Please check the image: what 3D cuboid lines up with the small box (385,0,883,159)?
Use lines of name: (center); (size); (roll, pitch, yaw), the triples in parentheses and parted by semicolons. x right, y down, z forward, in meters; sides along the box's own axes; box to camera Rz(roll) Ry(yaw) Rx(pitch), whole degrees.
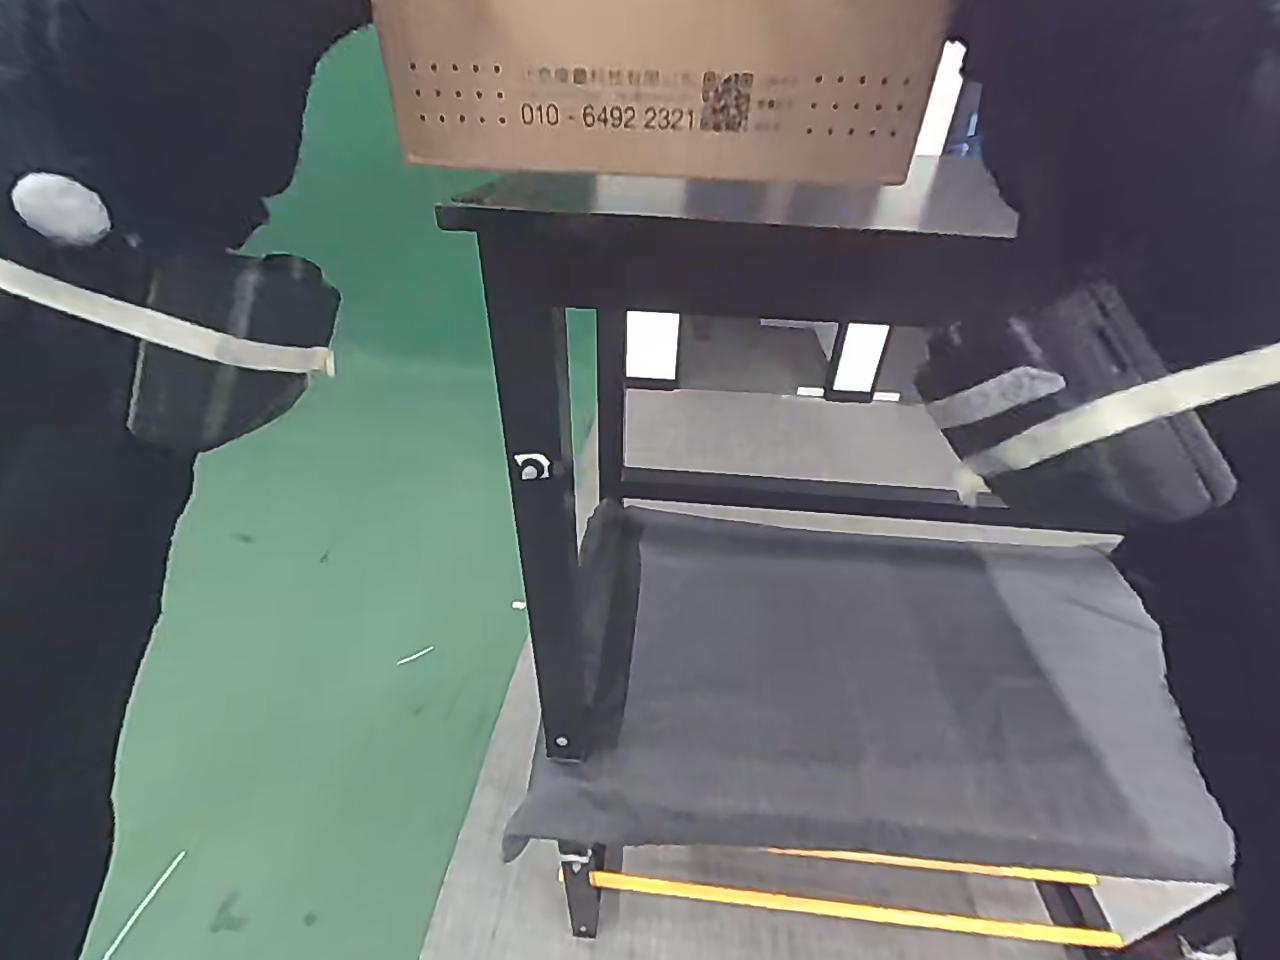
small box: (0.002, -0.230, 0.210); (0.168, 0.176, 0.179); (4, 35, 2)
